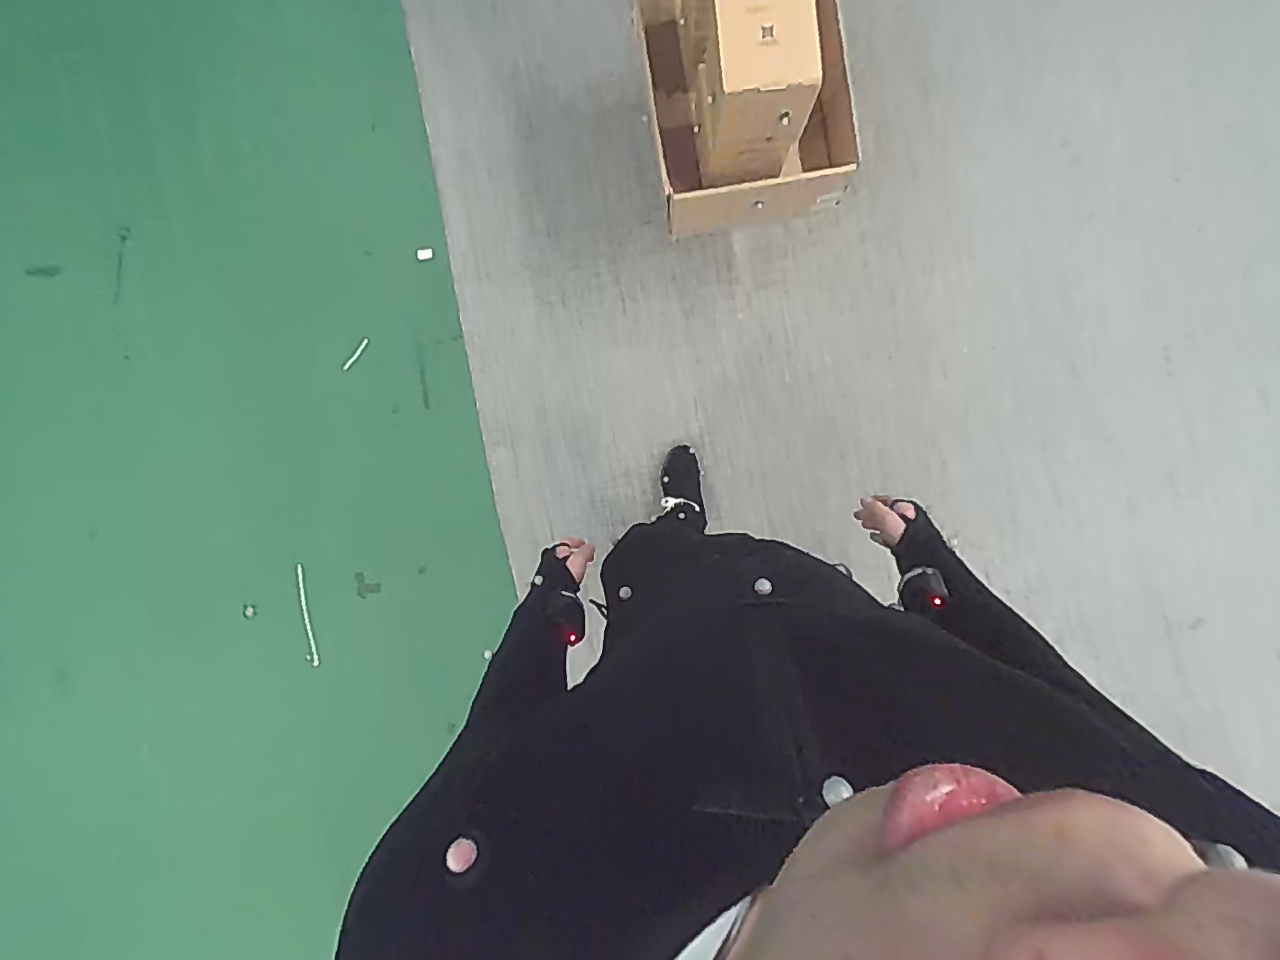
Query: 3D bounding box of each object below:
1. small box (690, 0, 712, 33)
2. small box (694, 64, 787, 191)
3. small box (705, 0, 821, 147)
[{"bbox_3d":[0.172,-0.963,0.970,0.168,0.176,0.179,-8,92,1],"label":"small box"},{"bbox_3d":[0.206,-0.730,1.126,0.168,0.176,0.179,-8,88,2],"label":"small box"},{"bbox_3d":[0.210,-0.725,0.963,0.168,0.176,0.179,-5,89,1],"label":"small box"}]
